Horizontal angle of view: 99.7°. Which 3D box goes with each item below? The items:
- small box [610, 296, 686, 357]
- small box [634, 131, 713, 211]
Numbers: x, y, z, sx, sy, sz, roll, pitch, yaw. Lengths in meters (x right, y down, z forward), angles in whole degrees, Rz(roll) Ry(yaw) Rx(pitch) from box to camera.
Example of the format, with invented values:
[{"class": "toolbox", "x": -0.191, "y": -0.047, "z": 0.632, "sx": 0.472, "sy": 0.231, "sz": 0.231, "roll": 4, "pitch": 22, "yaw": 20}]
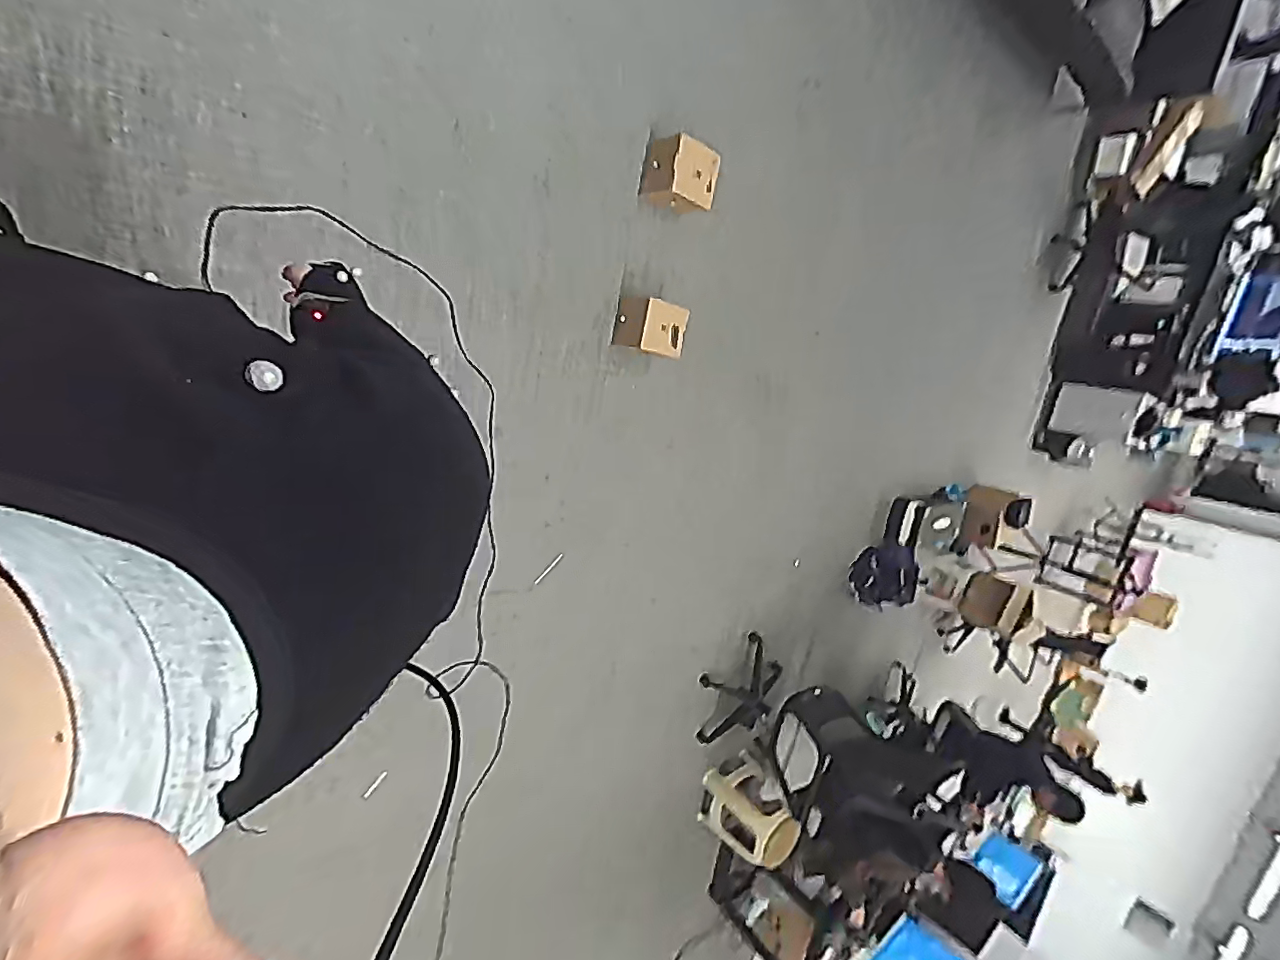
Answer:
[{"class": "small box", "x": 0.025, "y": -0.519, "z": 1.827, "sx": 0.179, "sy": 0.176, "sz": 0.168, "roll": 2, "pitch": 102, "yaw": -38}, {"class": "small box", "x": 0.103, "y": -0.981, "z": 1.736, "sx": 0.179, "sy": 0.176, "sz": 0.168, "roll": 2, "pitch": 104, "yaw": -39}]
